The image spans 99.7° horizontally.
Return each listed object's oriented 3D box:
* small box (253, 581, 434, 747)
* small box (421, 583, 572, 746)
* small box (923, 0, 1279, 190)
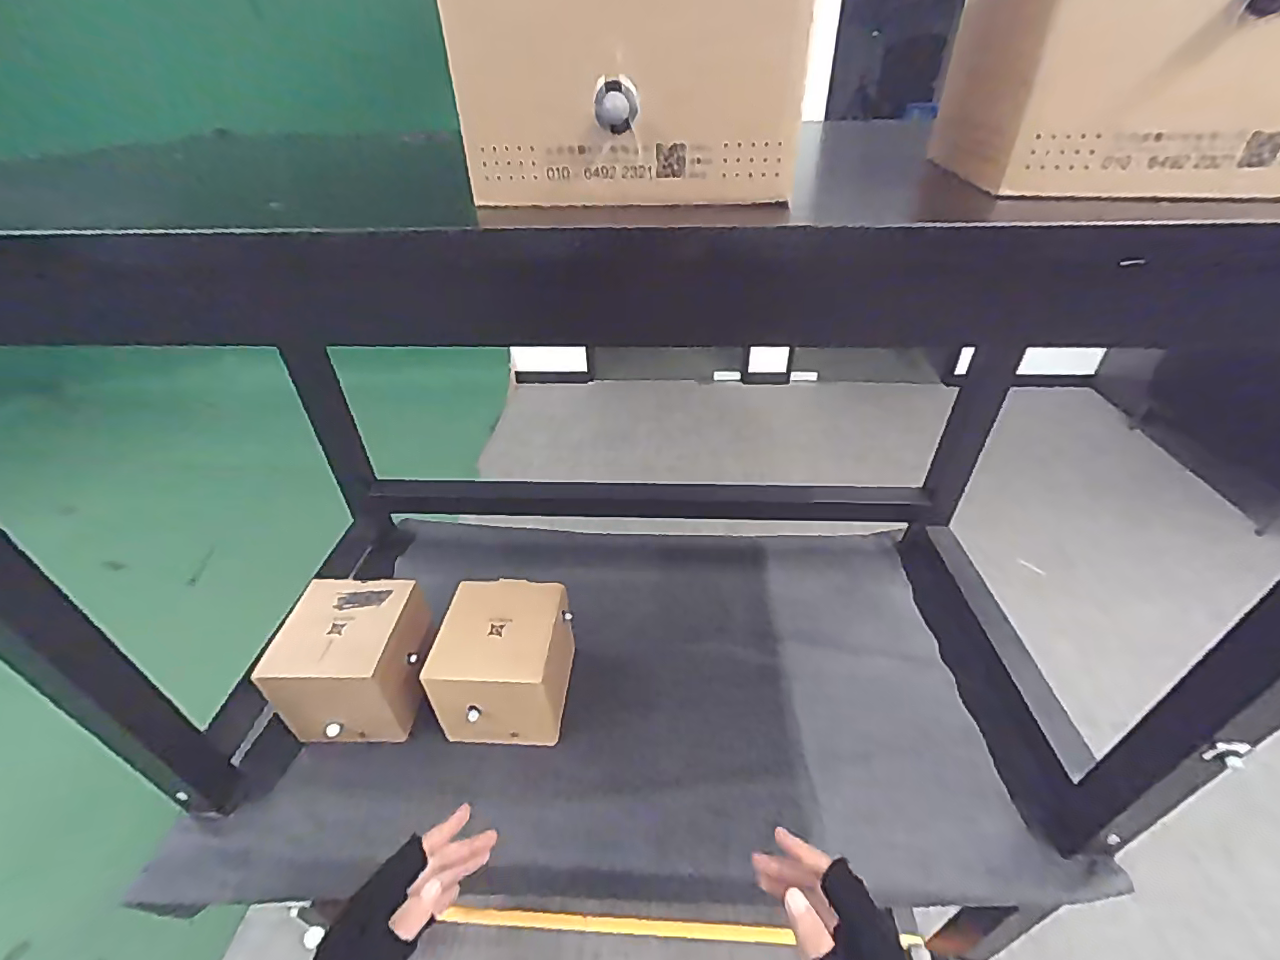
[{"bbox_3d":[-0.428,0.276,0.823,0.168,0.176,0.179,0,36,2],"label":"small box"},{"bbox_3d":[-0.200,0.277,0.817,0.168,0.176,0.179,1,35,3],"label":"small box"},{"bbox_3d":[0.272,-0.257,0.285,0.168,0.176,0.179,6,36,10],"label":"small box"}]
